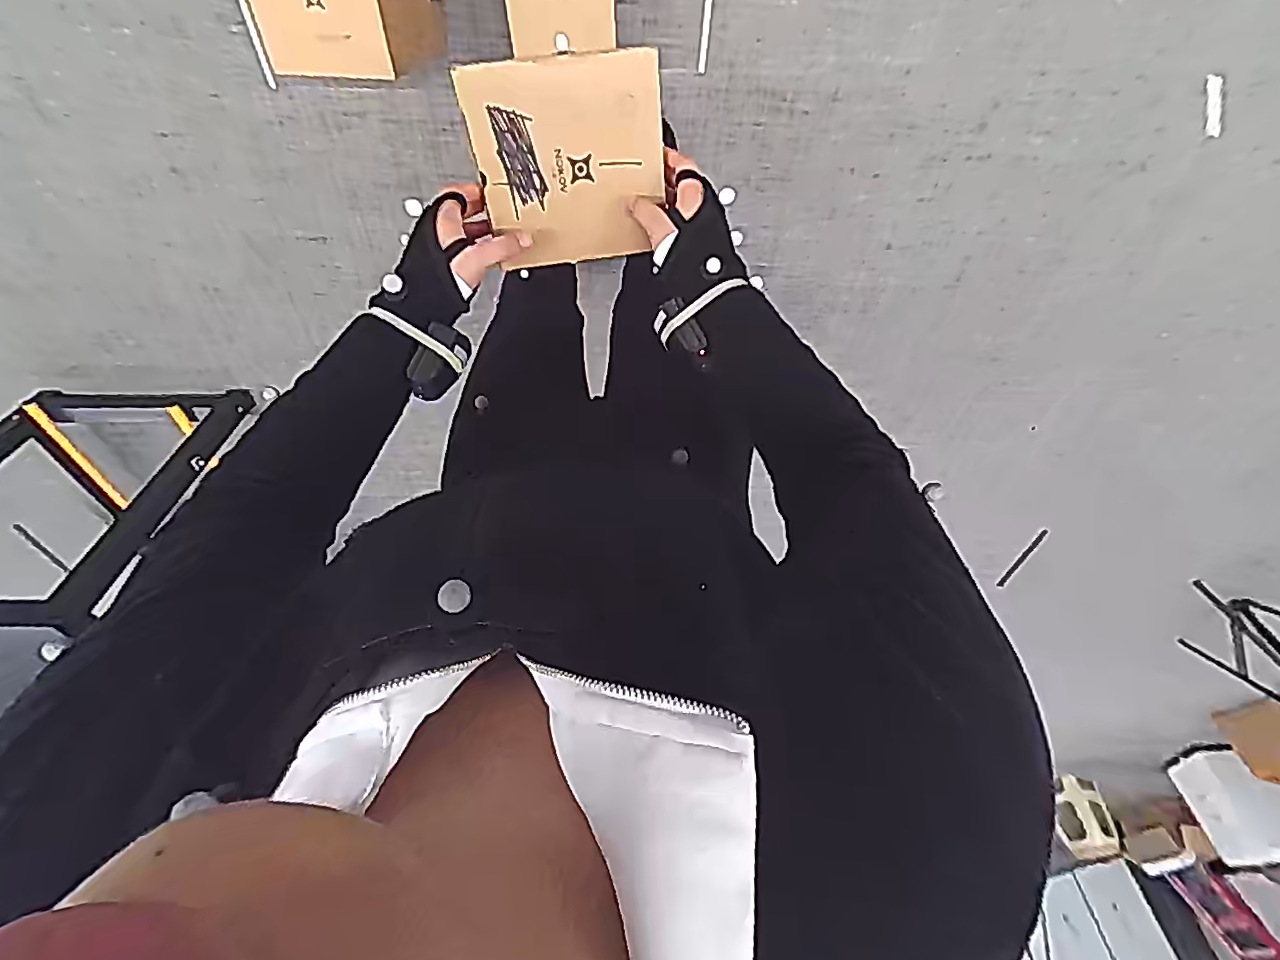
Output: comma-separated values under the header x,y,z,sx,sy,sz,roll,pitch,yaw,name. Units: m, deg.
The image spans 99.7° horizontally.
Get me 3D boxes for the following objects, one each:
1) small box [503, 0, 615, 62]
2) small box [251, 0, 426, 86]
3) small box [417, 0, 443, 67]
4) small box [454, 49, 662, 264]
x,y,z,sx,sy,sz,roll,pitch,yaw,name
-0.127,-0.788,0.865,0.168,0.176,0.179,-1,136,0,small box
-0.414,-0.669,0.743,0.168,0.176,0.179,2,136,-2,small box
-0.425,-0.781,0.860,0.179,0.176,0.168,2,135,-3,small box
-0.077,-0.344,0.574,0.179,0.176,0.168,-8,129,-3,small box
